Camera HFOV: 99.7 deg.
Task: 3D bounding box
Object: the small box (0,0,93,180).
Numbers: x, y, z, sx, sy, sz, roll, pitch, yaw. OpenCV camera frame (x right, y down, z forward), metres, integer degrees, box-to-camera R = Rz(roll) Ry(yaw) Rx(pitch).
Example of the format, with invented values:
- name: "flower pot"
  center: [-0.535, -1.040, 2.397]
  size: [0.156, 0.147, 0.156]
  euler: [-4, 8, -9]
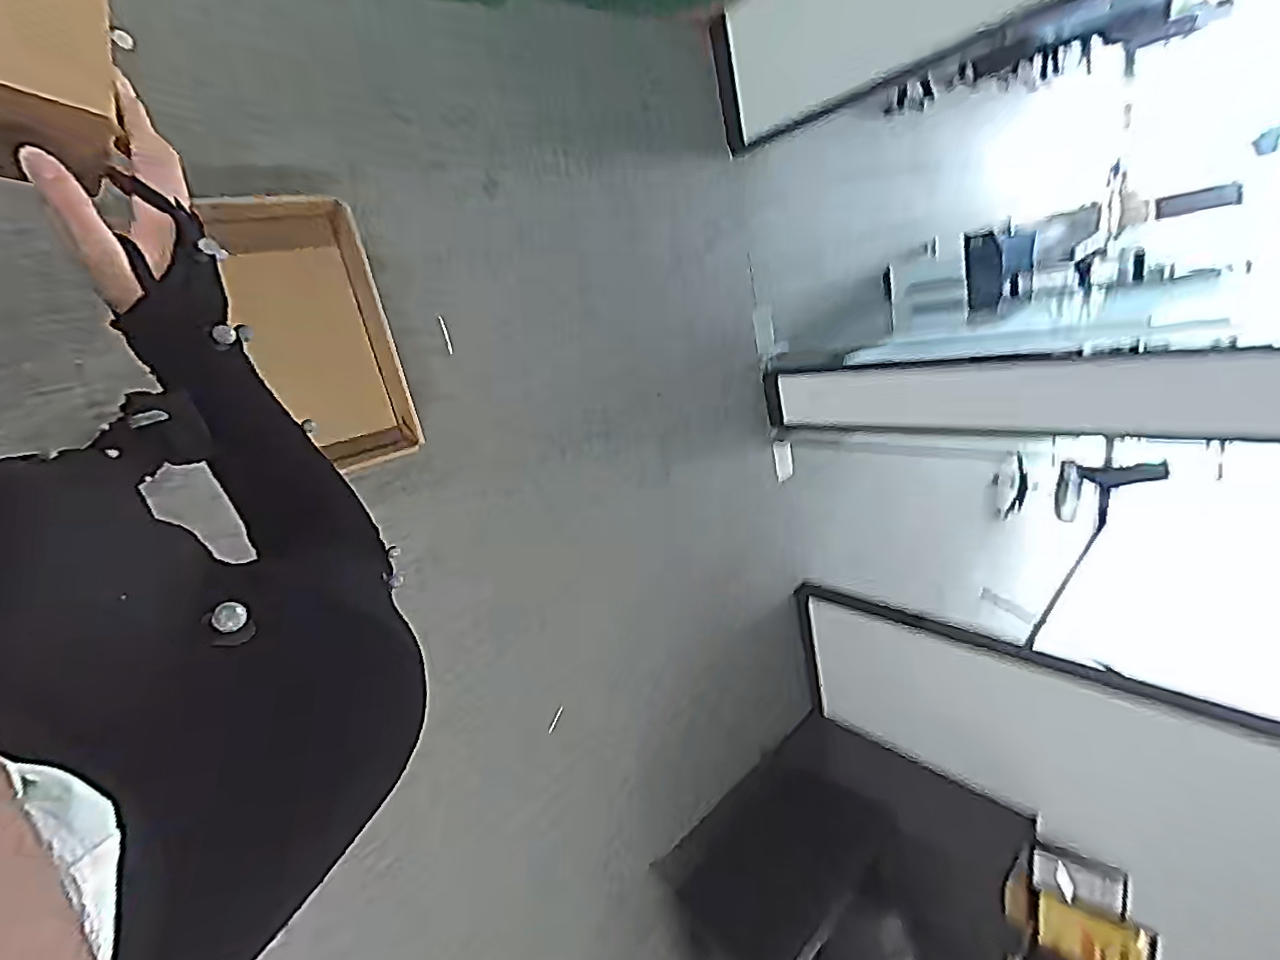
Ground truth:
- name: "small box"
  center: [-0.458, -0.317, 0.329]
  size: [0.168, 0.176, 0.179]
  euler: [-6, 96, -48]
